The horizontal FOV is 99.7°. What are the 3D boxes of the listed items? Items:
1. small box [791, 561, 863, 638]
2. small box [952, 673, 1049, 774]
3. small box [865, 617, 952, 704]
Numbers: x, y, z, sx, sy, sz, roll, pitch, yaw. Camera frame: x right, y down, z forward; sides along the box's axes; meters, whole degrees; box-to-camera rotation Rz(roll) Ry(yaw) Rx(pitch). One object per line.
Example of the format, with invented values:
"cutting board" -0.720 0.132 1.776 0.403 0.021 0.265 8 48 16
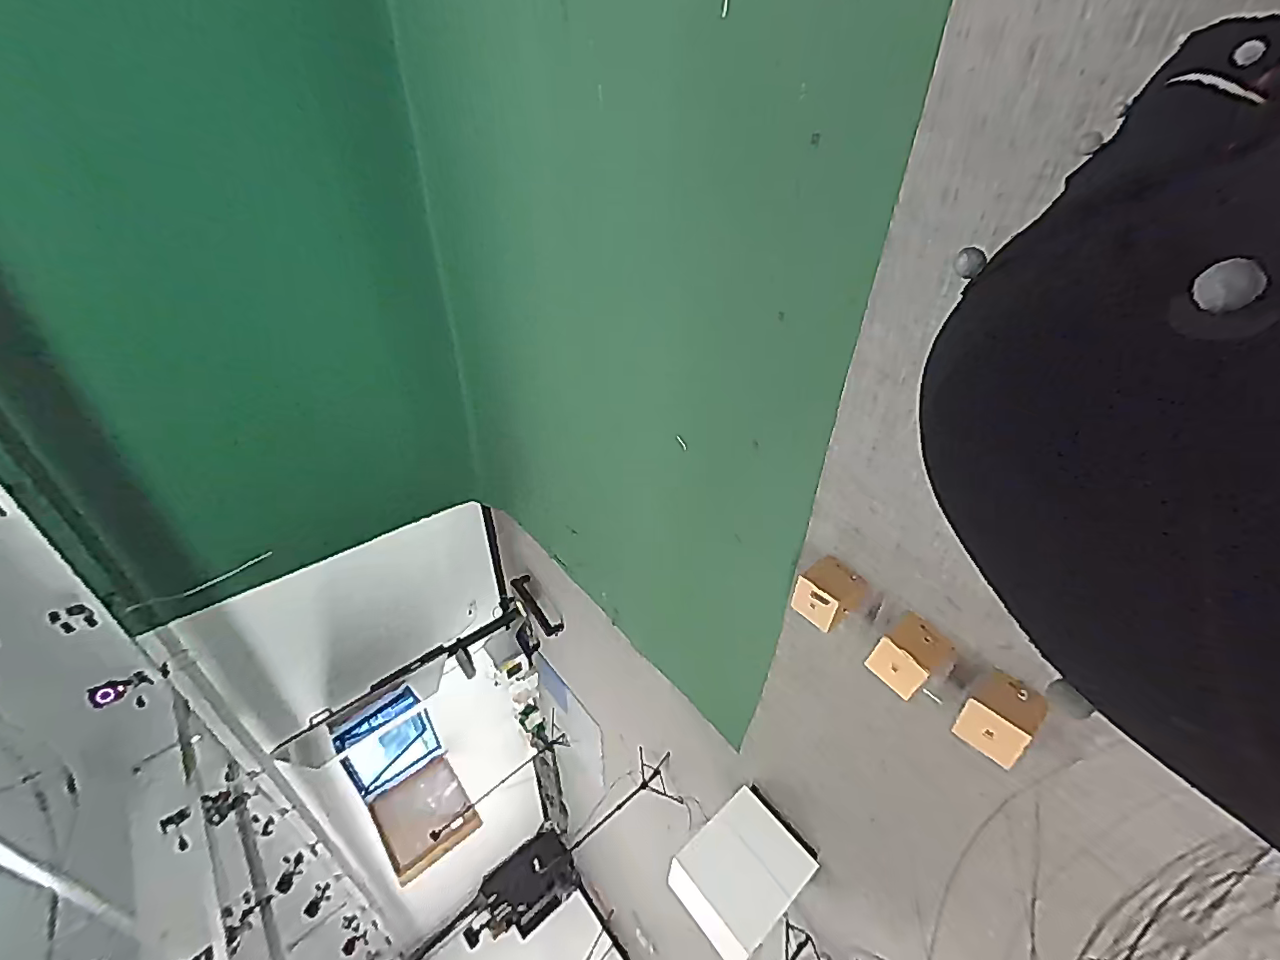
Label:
"small box" 0.681 0.427 1.963 0.168 0.176 0.179 37 139 37
"small box" 1.068 0.714 1.598 0.168 0.176 0.179 32 133 39
"small box" 0.885 0.591 1.780 0.168 0.176 0.179 41 140 33
